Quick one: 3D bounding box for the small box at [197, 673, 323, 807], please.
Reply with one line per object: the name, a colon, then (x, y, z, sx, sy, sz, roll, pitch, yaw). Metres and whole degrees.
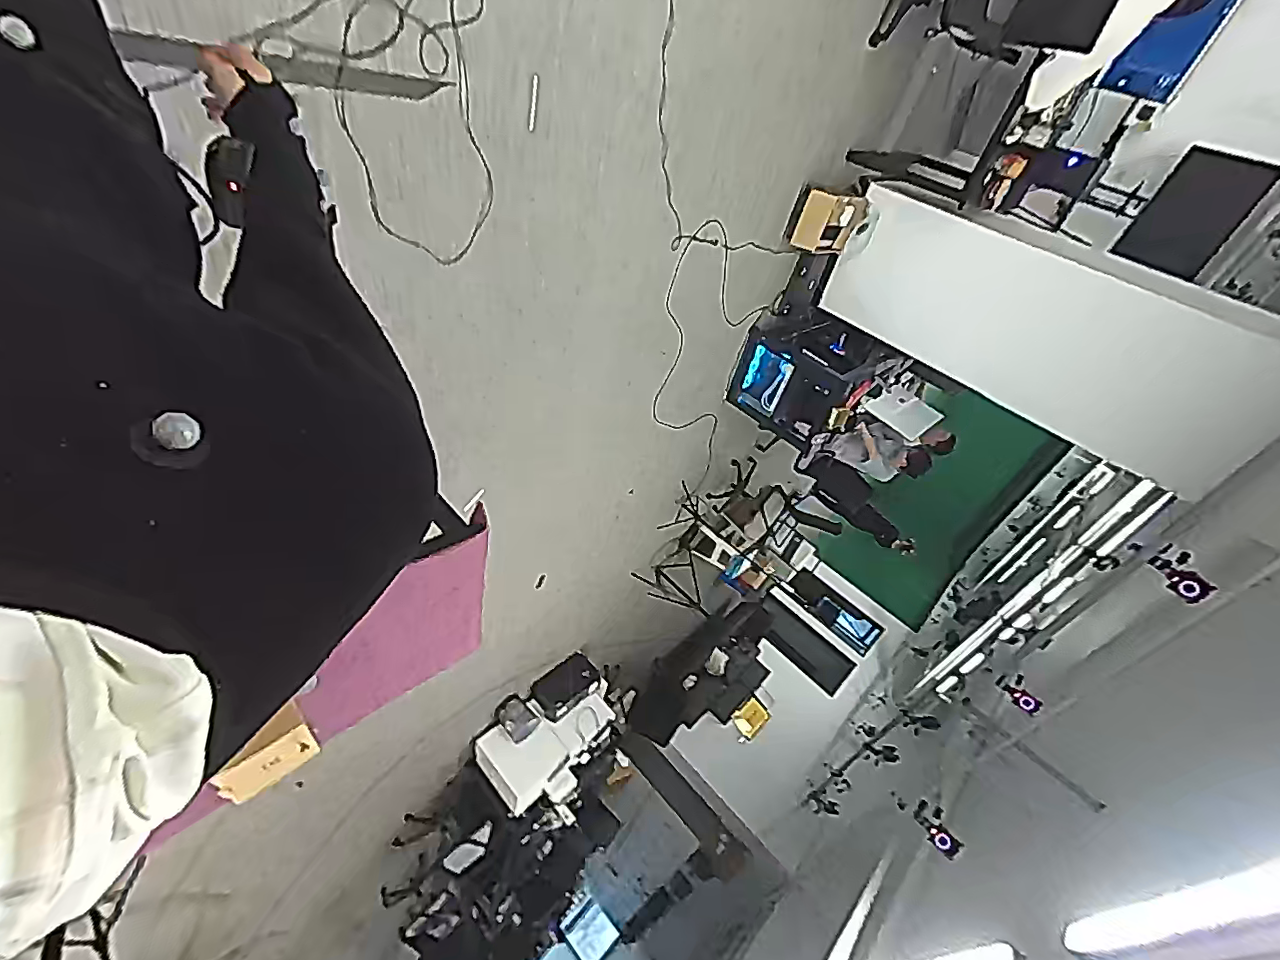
small box: (-0.843, 0.571, 1.198, 0.179, 0.176, 0.168, -28, 148, -37)
